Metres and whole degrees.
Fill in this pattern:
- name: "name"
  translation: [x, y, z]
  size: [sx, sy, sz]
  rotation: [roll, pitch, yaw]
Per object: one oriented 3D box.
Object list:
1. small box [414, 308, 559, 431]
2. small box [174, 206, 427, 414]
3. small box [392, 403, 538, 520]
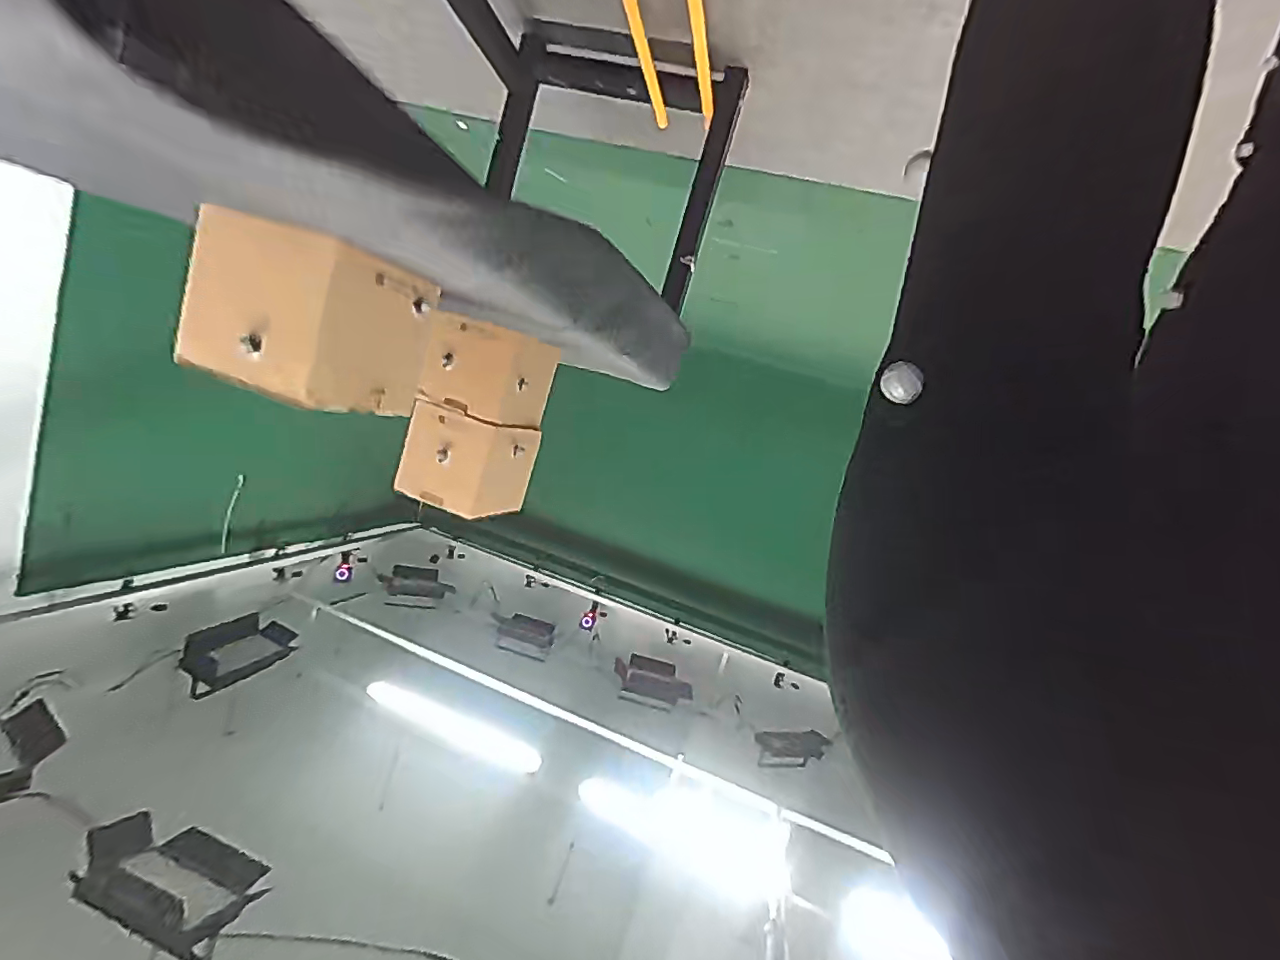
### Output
- name: "small box"
  translation: [-0.267, -0.196, 0.971]
  size: [0.168, 0.176, 0.179]
  rotation: [20, -173, 12]
- name: "small box"
  translation: [-0.366, -0.183, 0.610]
  size: [0.179, 0.176, 0.168]
  rotation: [19, -174, 12]
- name: "small box"
  translation: [-0.311, -0.038, 0.988]
  size: [0.168, 0.176, 0.179]
  rotation: [20, -174, 14]
